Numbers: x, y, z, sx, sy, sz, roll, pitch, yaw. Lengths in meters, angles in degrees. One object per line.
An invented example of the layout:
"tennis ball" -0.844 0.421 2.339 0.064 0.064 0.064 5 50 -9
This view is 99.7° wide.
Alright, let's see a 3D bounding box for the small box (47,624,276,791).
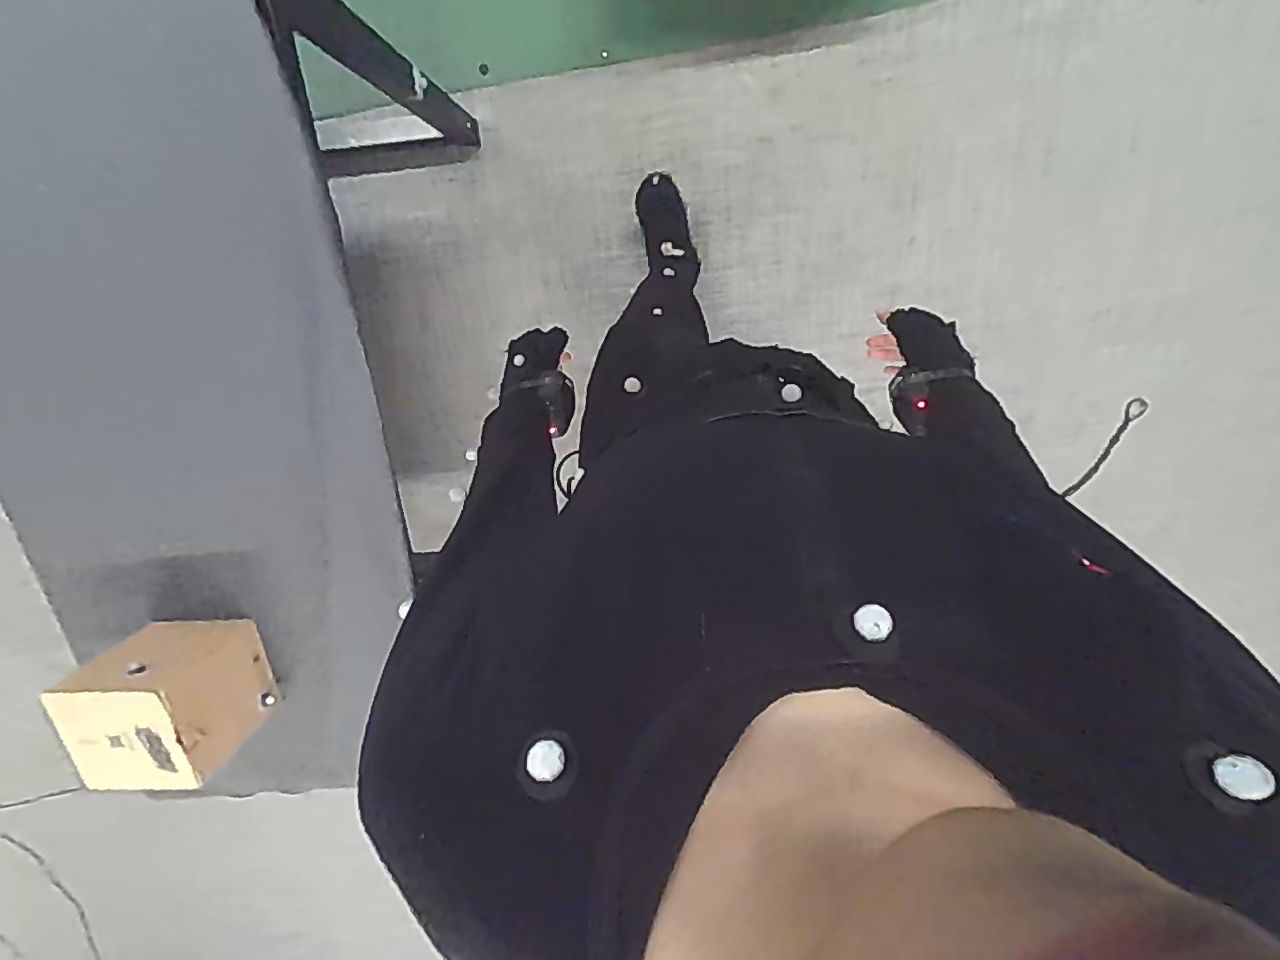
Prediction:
"small box" -0.683 0.328 0.802 0.179 0.176 0.168 -3 107 6
